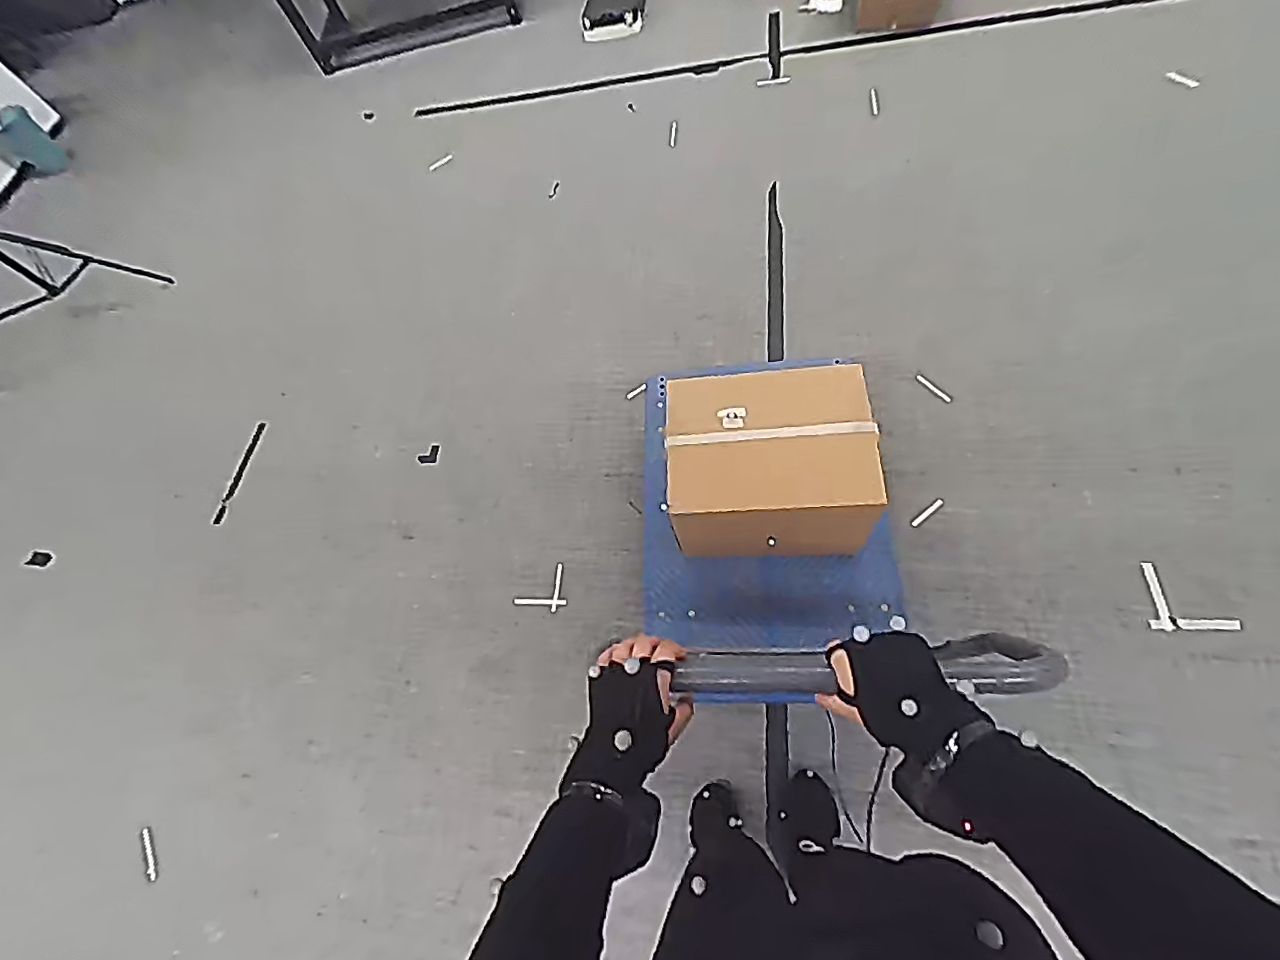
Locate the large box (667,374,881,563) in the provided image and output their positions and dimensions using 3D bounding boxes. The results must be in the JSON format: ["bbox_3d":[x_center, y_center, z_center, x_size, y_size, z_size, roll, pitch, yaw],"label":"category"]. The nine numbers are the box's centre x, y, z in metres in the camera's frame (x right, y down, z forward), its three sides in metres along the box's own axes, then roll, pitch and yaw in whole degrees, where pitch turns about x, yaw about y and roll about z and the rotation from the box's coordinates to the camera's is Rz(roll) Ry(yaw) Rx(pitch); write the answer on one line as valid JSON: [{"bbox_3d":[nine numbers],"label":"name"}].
[{"bbox_3d":[0.286,-0.007,1.231,0.408,0.320,0.320,-4,64,11],"label":"large box"}]
